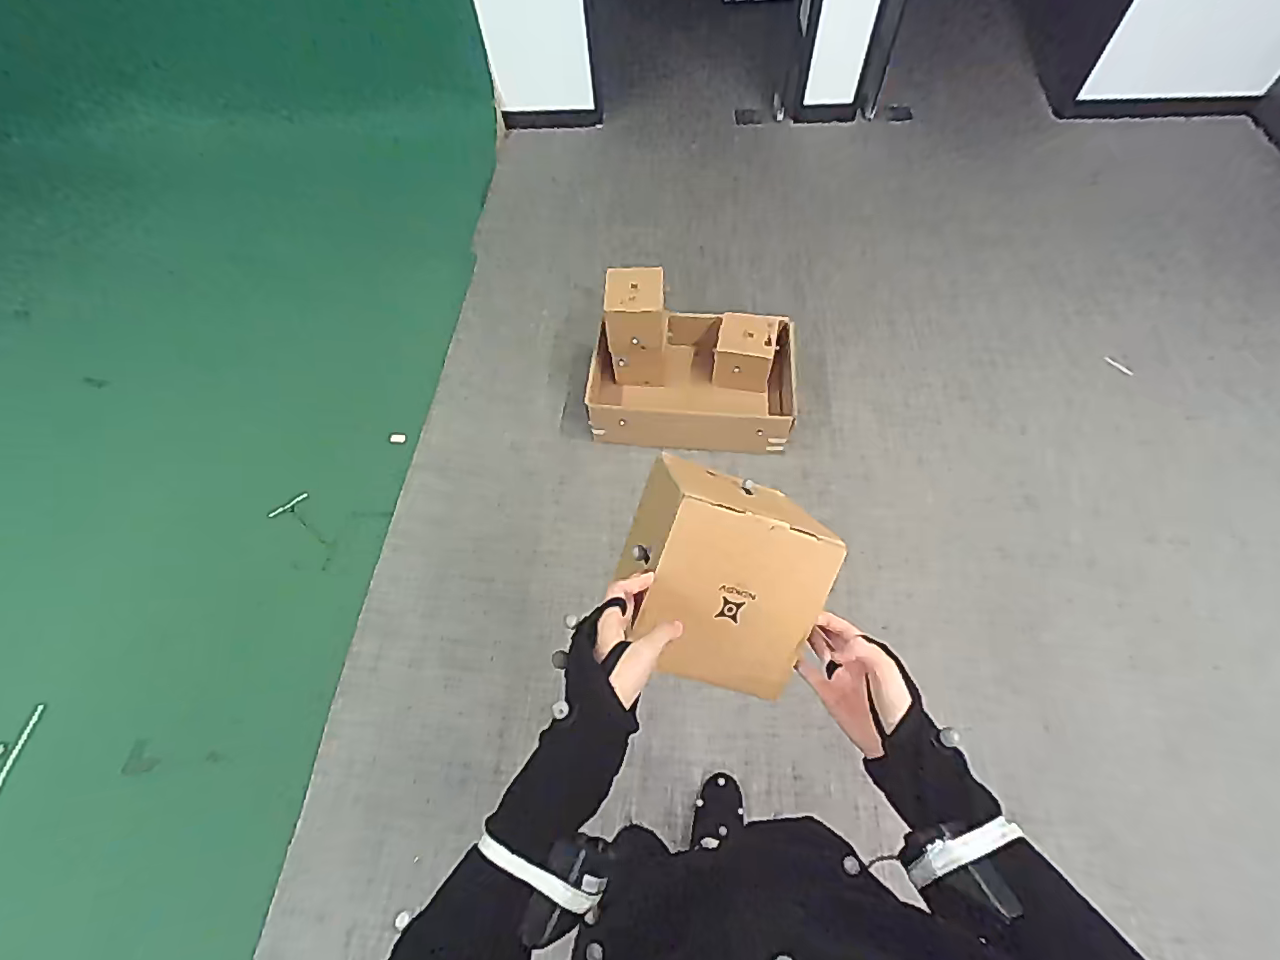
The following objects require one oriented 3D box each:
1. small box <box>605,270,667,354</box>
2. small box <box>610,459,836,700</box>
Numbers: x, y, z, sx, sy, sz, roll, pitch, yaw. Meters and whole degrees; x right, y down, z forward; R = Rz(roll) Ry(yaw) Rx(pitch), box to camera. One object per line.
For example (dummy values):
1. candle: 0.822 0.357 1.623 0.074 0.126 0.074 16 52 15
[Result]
1. small box: -0.006 -0.497 1.602 0.168 0.176 0.179 1 62 5
2. small box: 0.072 0.094 0.579 0.168 0.176 0.179 18 101 -9
